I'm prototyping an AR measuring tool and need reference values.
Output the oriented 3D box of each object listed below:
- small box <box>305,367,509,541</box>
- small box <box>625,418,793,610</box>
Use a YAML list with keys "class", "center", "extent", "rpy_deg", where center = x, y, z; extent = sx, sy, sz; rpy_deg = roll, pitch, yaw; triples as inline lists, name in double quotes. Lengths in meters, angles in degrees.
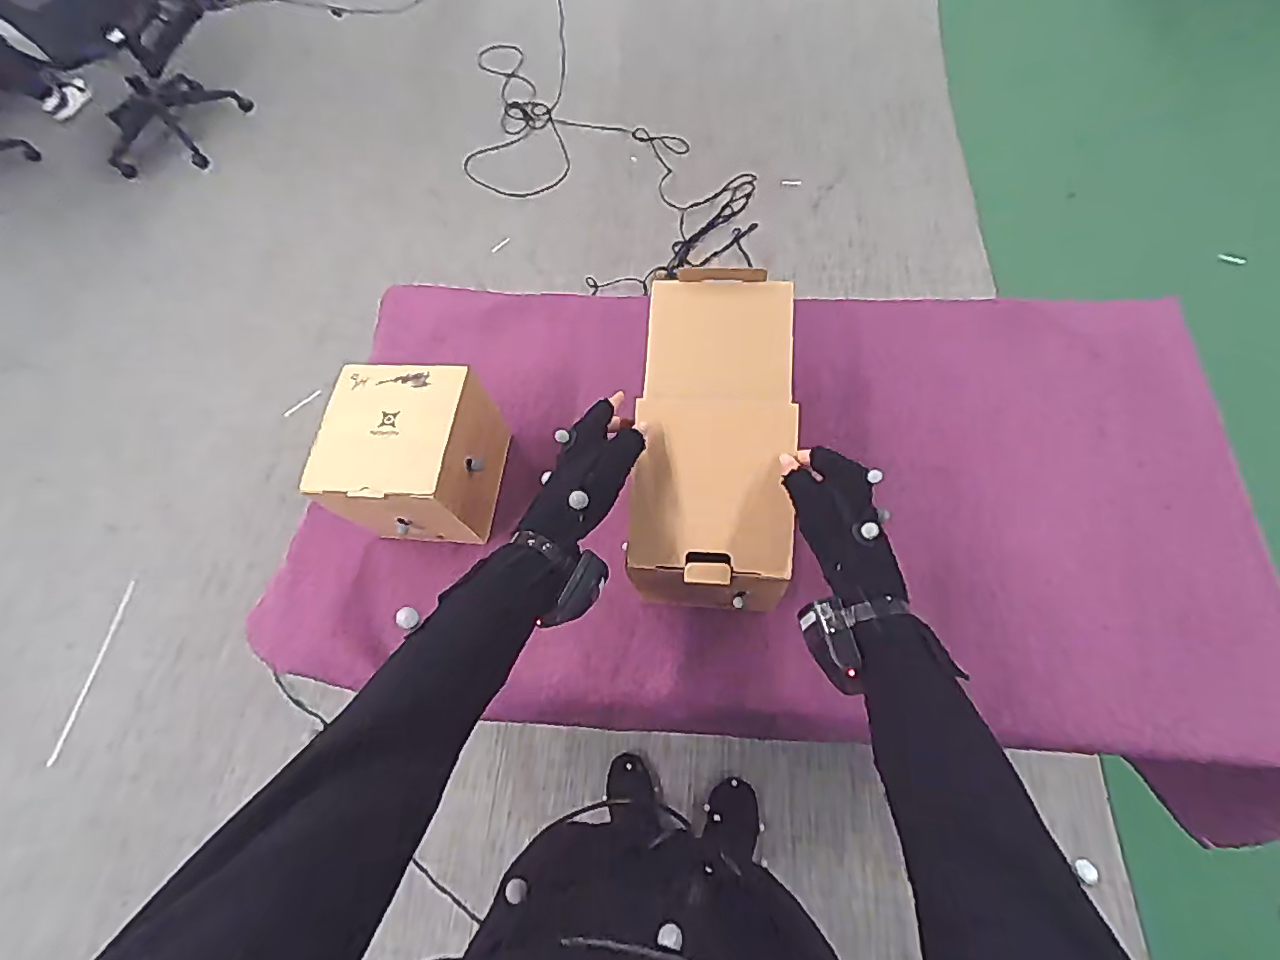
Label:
- class: "small box"
  center: [-0.284, -0.027, 0.705]
  extent: [0.168, 0.176, 0.179]
  rpy_deg: [2, 66, 7]
- class: "small box"
  center: [0.083, 0.047, 0.632]
  extent: [0.168, 0.176, 0.179]
  rpy_deg: [3, 65, 7]
